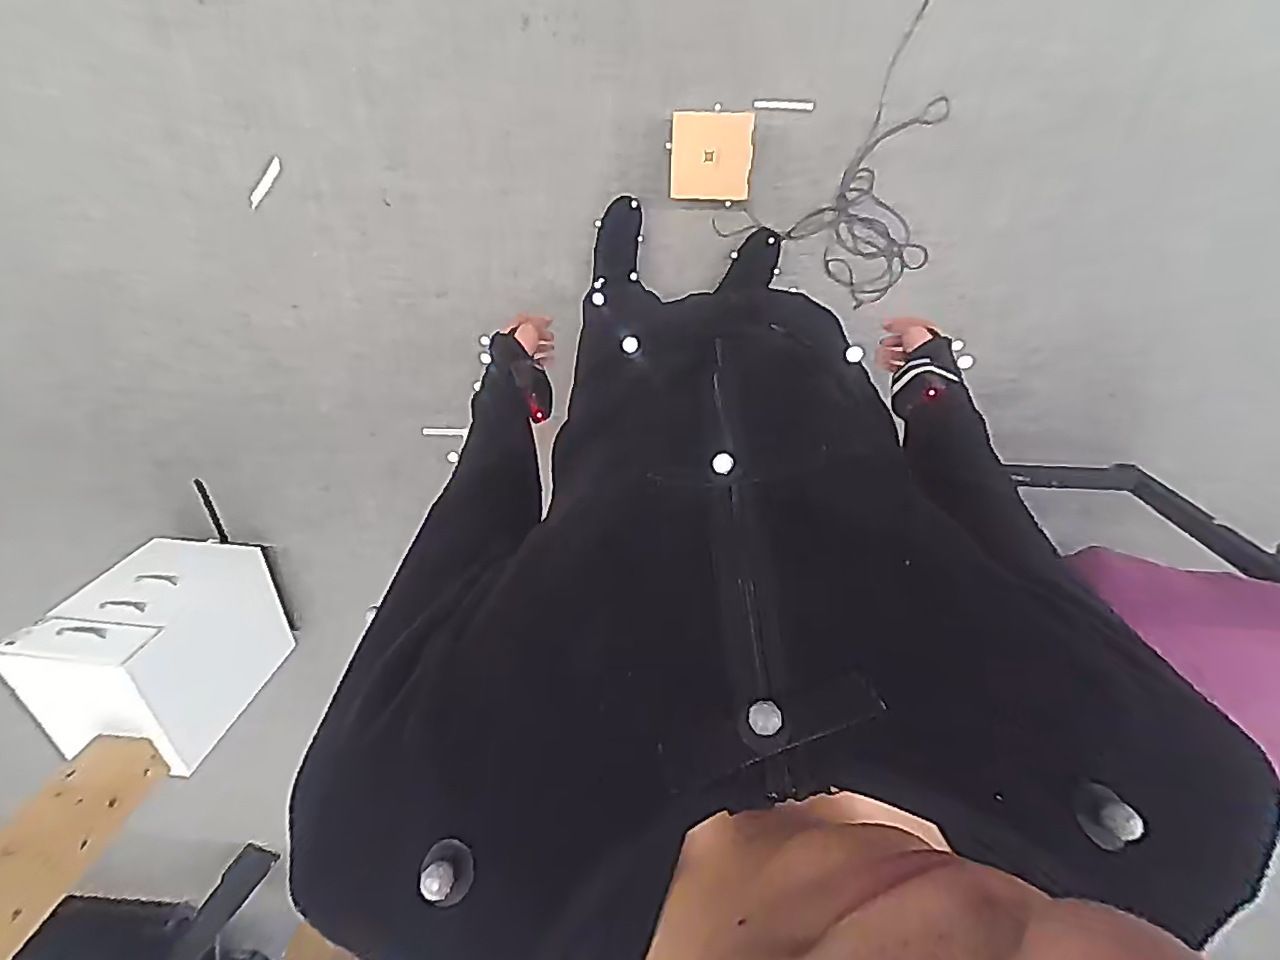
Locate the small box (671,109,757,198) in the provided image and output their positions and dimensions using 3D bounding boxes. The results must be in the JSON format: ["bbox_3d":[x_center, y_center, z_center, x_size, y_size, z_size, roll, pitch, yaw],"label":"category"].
[{"bbox_3d":[0.162,-0.741,1.236,0.179,0.176,0.168,2,120,3],"label":"small box"}]

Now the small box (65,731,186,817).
[{"bbox_3d":[-1.564,0.896,1.656,0.179,0.176,0.168,4,121,4],"label":"small box"}]
